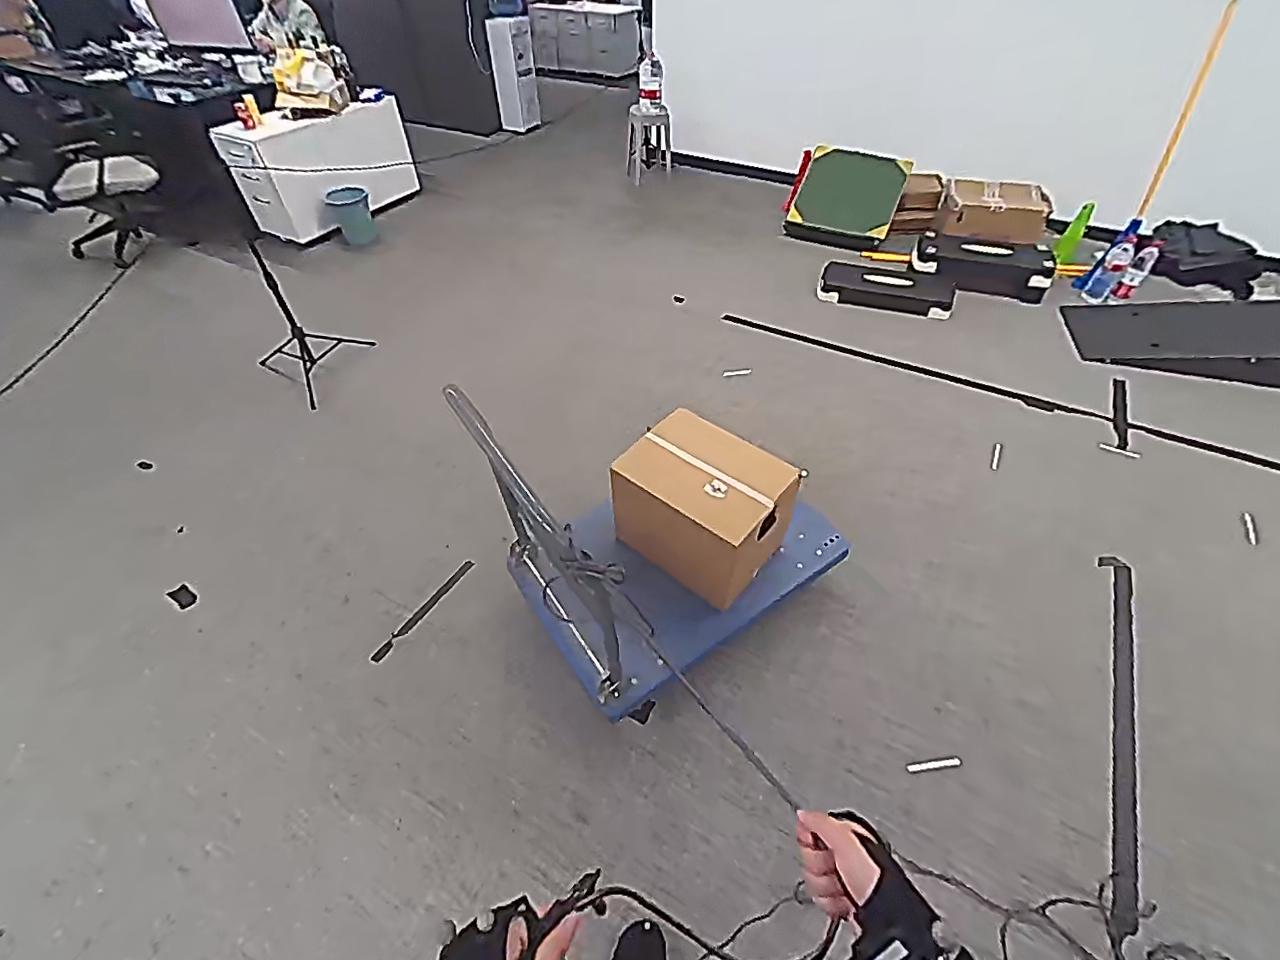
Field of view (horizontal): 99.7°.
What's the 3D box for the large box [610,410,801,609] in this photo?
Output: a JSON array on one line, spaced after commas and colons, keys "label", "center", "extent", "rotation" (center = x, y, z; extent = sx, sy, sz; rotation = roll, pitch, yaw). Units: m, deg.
[{"label": "large box", "center": [0.165, 0.076, 1.502], "extent": [0.408, 0.320, 0.320], "rotation": [32, 57, 25]}]
